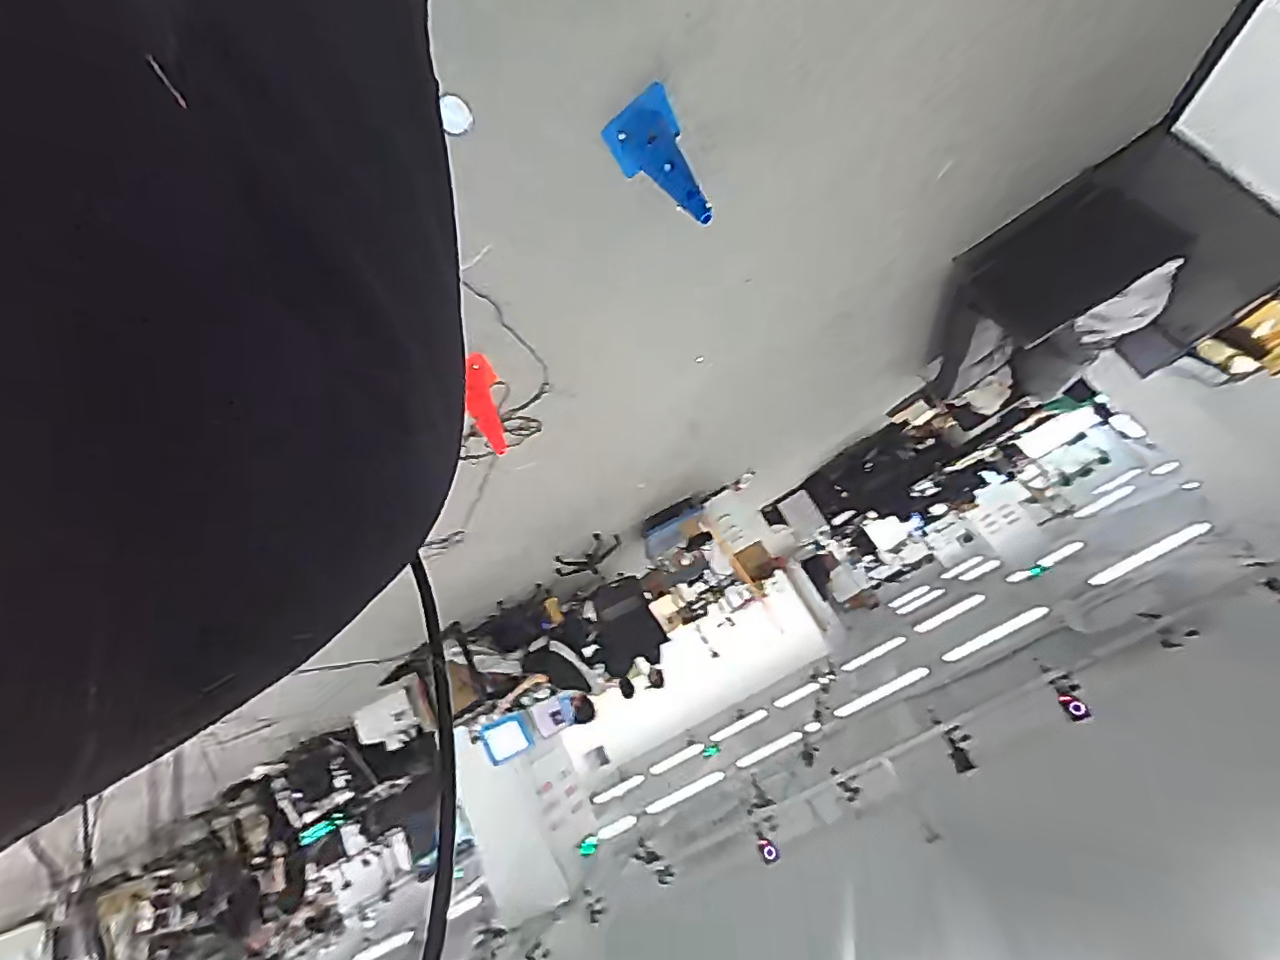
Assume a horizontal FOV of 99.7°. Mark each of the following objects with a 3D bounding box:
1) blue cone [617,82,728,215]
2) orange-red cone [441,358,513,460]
[{"bbox_3d":[0.112,-0.830,1.430,0.192,0.380,0.193,-35,160,12],"label":"blue cone"},{"bbox_3d":[-0.541,-0.225,1.945,0.199,0.360,0.198,-26,159,-6],"label":"orange-red cone"}]
